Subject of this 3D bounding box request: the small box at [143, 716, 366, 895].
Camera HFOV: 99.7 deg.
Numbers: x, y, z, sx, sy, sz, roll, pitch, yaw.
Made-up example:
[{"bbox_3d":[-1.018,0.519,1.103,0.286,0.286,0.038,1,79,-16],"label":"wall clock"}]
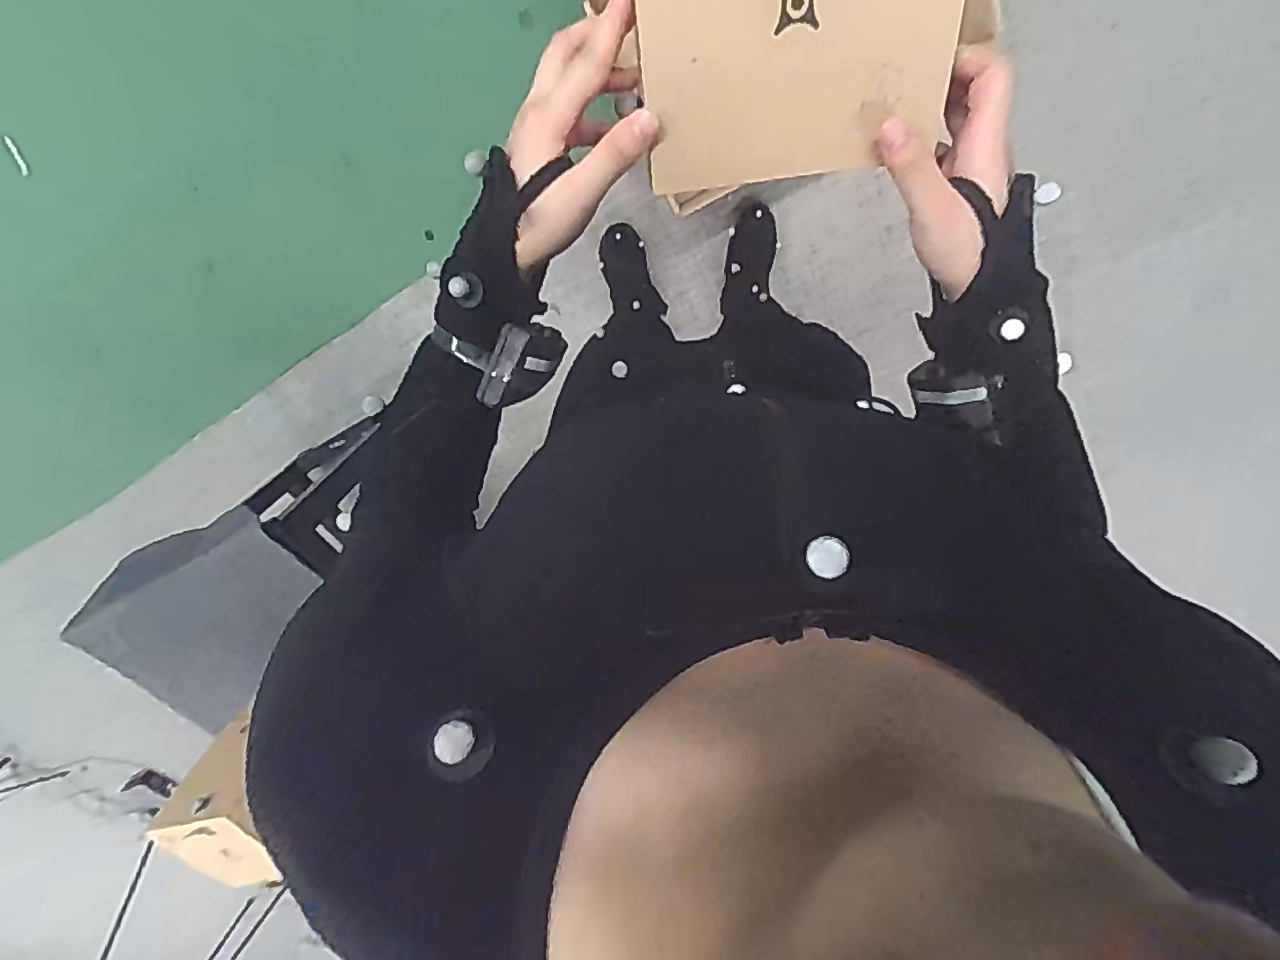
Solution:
[{"bbox_3d":[-0.560,0.489,0.817,0.168,0.176,0.179,-18,119,15],"label":"small box"}]
